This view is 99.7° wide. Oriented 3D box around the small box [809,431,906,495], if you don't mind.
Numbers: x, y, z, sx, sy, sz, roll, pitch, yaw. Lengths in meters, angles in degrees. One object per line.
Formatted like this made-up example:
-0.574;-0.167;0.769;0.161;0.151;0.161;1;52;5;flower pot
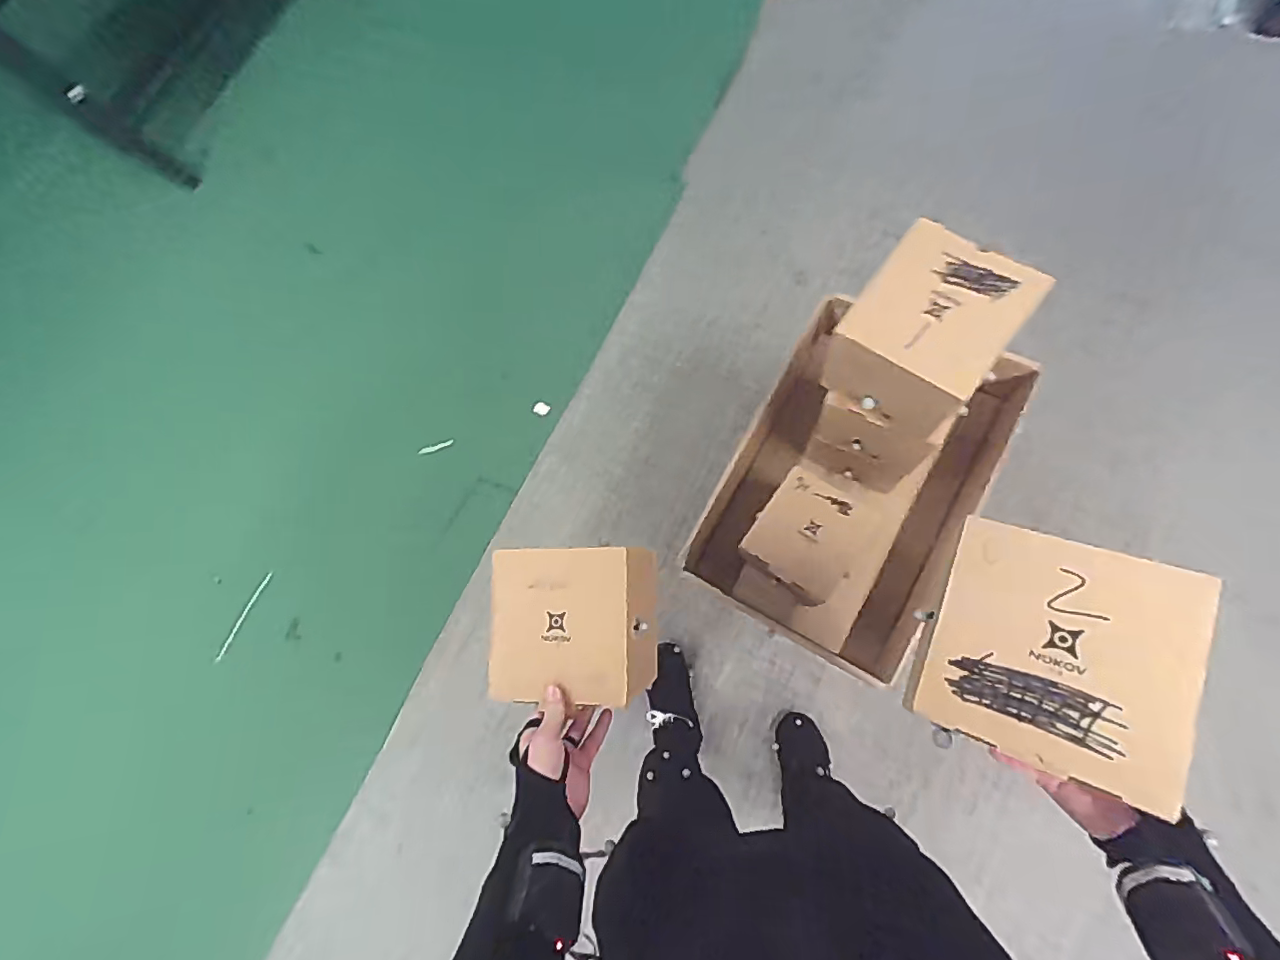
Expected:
0.429;-0.094;1.010;0.168;0.176;0.179;27;84;17;small box

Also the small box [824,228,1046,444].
0.359;-0.175;0.701;0.168;0.176;0.179;37;87;18;small box

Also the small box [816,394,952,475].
0.394;-0.131;0.856;0.168;0.176;0.179;27;84;16;small box
